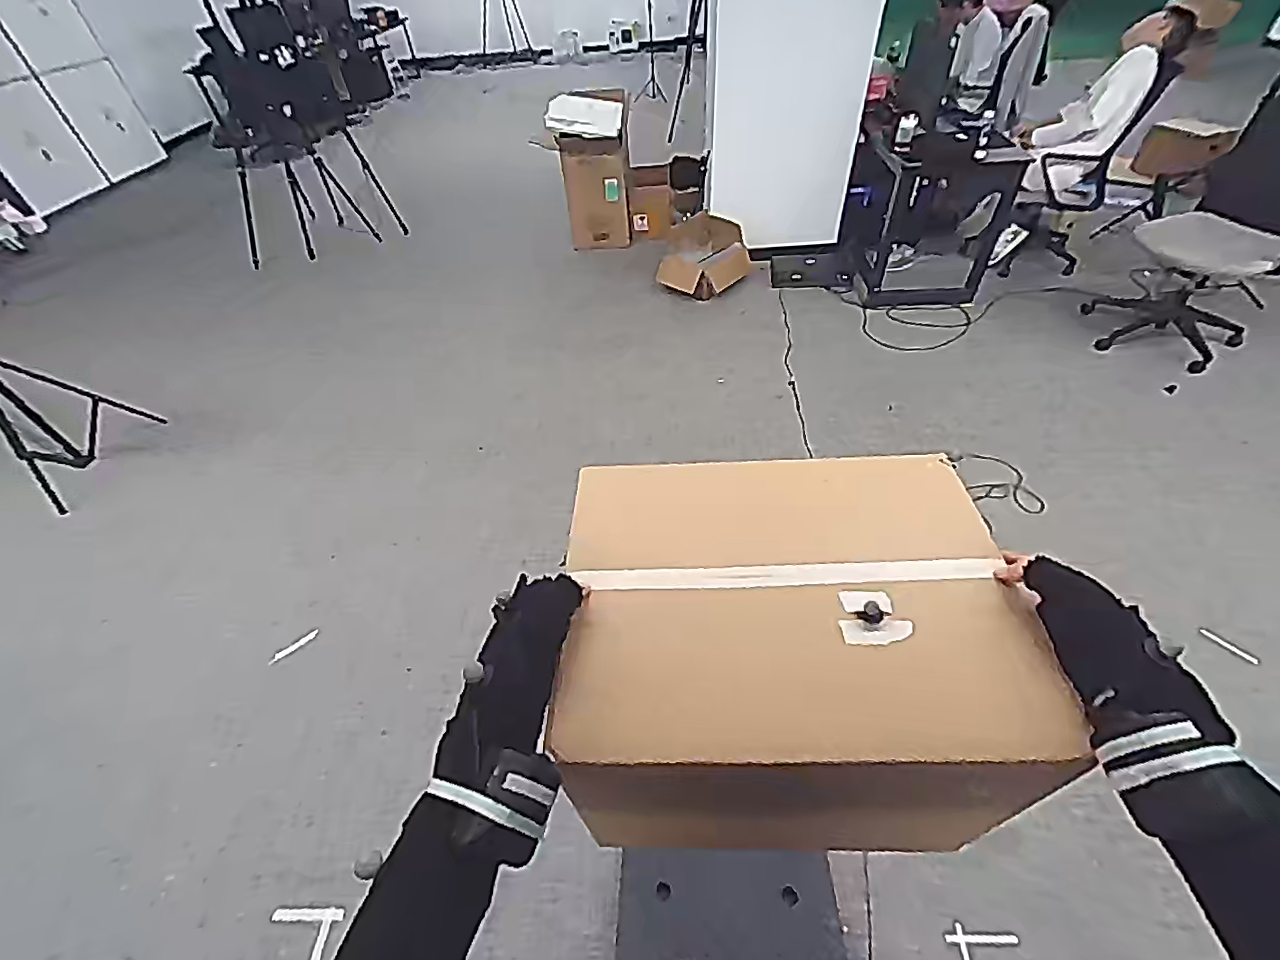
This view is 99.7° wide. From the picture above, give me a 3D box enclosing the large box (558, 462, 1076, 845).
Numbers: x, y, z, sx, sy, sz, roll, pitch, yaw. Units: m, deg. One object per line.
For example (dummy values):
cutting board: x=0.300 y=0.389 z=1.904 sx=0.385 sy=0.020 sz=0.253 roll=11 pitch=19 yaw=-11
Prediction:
large box: x=0.141 y=0.202 z=0.622 sx=0.408 sy=0.320 sz=0.320 roll=-2 pitch=46 yaw=4
